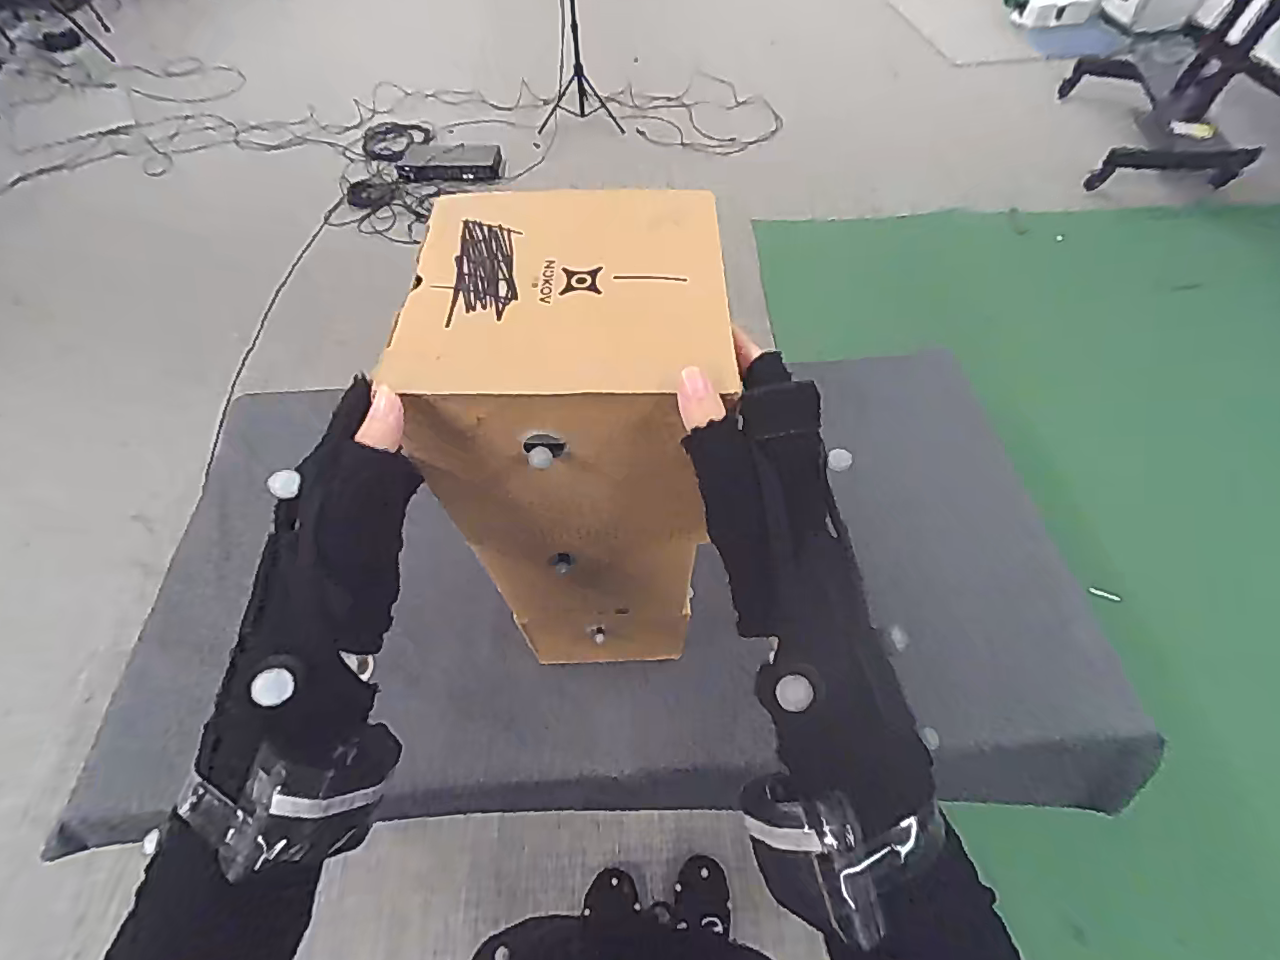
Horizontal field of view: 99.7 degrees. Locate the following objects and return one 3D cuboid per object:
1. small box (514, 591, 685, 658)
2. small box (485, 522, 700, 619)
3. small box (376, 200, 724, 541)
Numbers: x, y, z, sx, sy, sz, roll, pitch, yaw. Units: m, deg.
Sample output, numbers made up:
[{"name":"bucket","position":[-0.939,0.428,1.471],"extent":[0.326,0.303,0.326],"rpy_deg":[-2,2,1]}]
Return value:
[{"name":"small box","position":[-0.042,0.110,0.651],"extent":[0.179,0.176,0.168],"rpy_deg":[-2,57,-1]},{"name":"small box","position":[-0.041,0.020,0.518],"extent":[0.168,0.176,0.179],"rpy_deg":[-3,59,-2]},{"name":"small box","position":[-0.043,-0.066,0.373],"extent":[0.179,0.176,0.168],"rpy_deg":[0,58,0]}]
